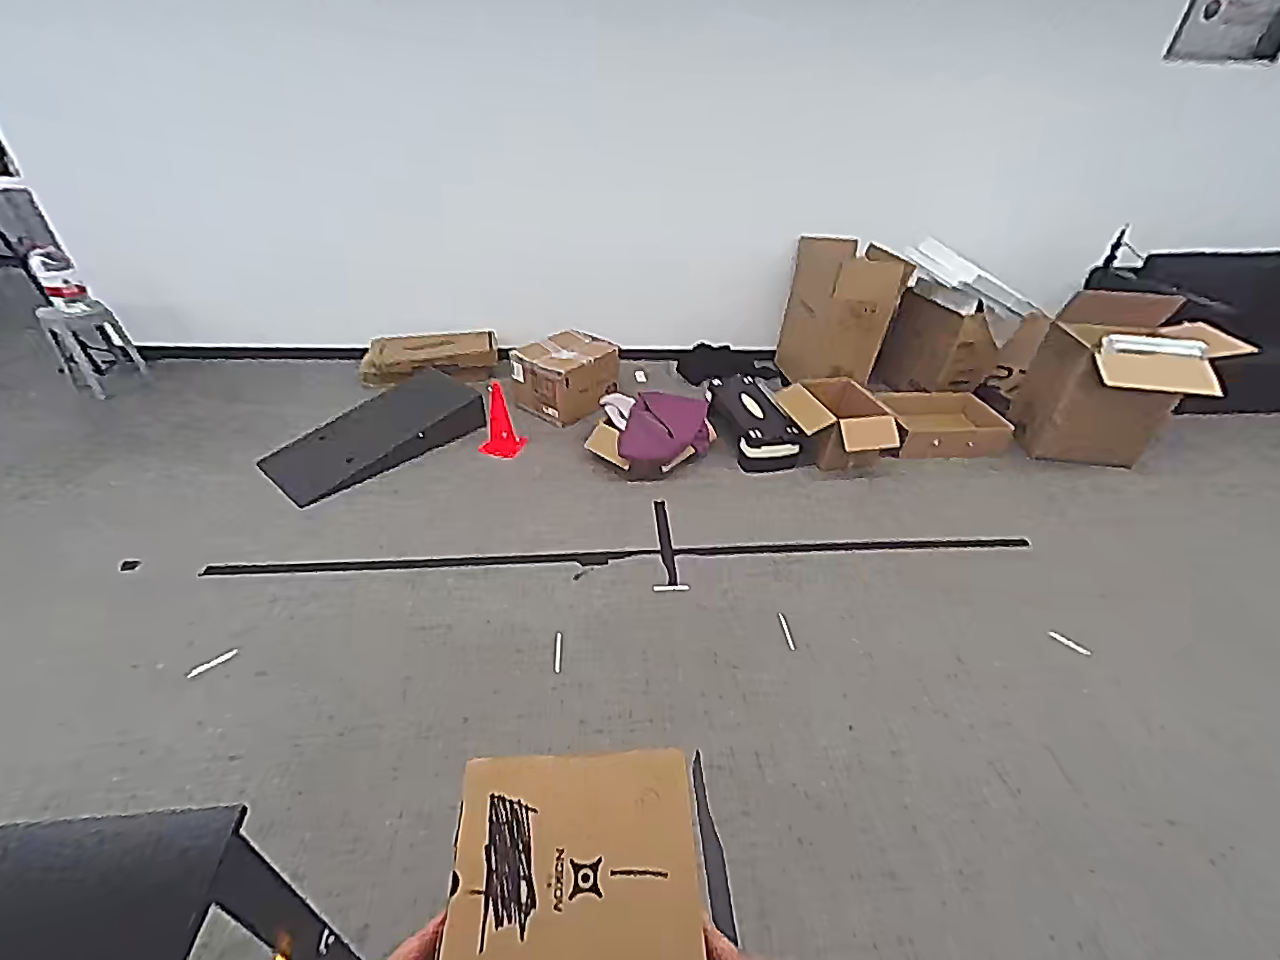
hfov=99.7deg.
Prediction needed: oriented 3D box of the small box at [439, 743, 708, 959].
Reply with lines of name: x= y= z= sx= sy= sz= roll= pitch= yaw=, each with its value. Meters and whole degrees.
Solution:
small box: x=-0.045 y=0.331 z=0.435 sx=0.179 sy=0.176 sz=0.168 roll=-2 pitch=45 yaw=-3
